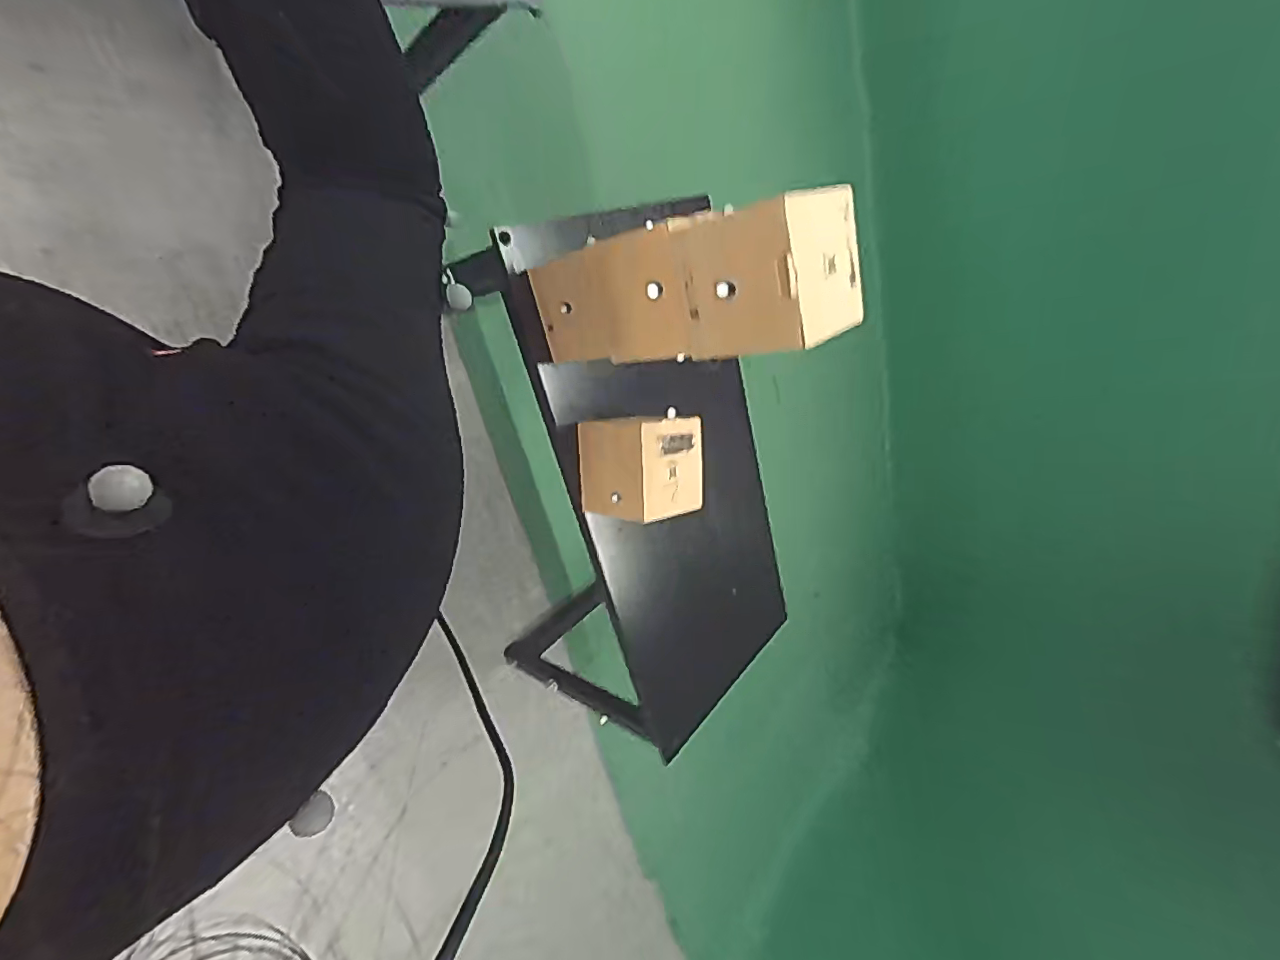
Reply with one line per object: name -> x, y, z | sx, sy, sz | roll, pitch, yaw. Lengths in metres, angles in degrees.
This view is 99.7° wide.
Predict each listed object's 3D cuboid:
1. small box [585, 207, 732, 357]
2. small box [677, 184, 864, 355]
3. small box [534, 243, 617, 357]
small box -> 0.045, -0.288, 0.809 | 0.168, 0.176, 0.179 | -32, 117, -38
small box -> 0.164, -0.265, 0.698 | 0.179, 0.176, 0.168 | -30, 115, -38
small box -> -0.061, -0.315, 0.930 | 0.179, 0.176, 0.168 | -32, 118, -39
